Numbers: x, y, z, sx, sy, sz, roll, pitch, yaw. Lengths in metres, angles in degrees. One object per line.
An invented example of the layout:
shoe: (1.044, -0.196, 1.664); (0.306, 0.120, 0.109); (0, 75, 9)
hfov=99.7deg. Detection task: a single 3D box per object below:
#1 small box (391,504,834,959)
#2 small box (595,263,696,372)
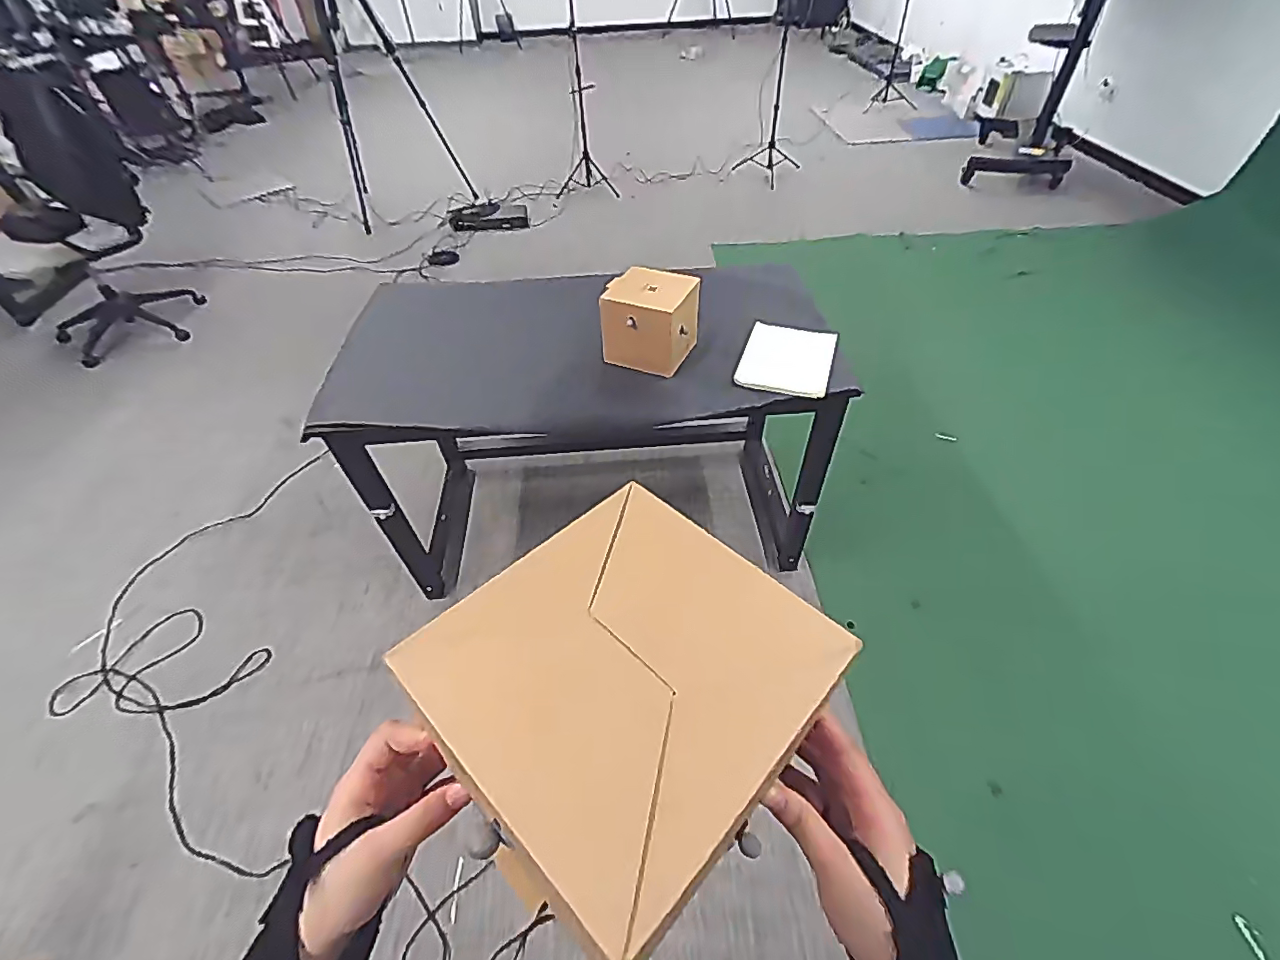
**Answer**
small box: (-0.012, 0.139, 0.324); (0.168, 0.176, 0.179); (34, 52, 29)
small box: (0.018, -0.370, 1.243); (0.179, 0.176, 0.168); (17, 50, 19)
